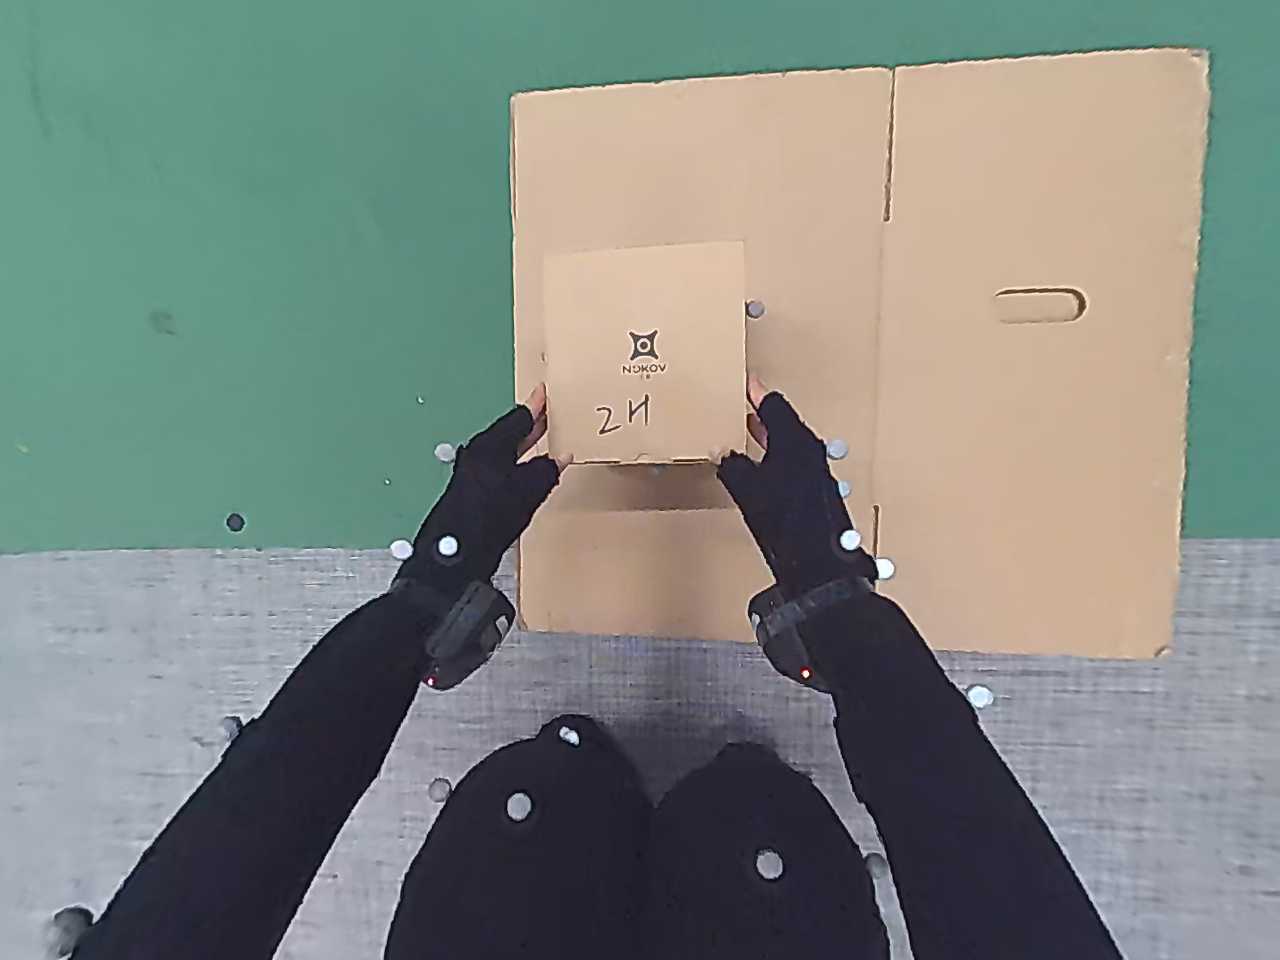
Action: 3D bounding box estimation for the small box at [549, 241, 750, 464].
[{"bbox_3d":[0.016,-0.105,0.516,0.168,0.176,0.179,-1,94,8],"label":"small box"}]
